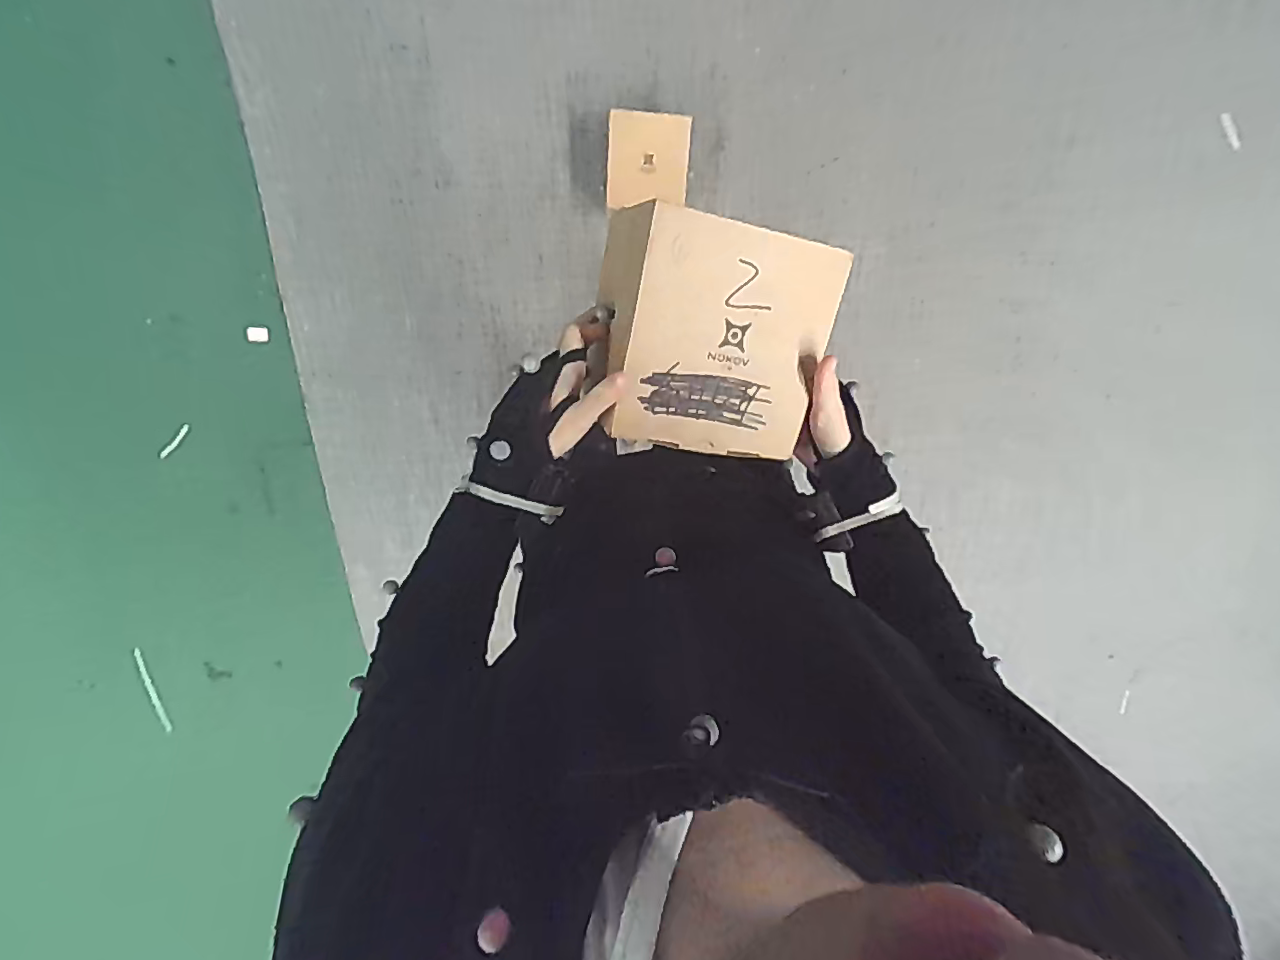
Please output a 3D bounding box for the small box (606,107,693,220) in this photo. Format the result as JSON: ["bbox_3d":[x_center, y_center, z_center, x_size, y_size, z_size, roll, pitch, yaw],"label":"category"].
[{"bbox_3d":[0.012,-0.677,1.175,0.168,0.176,0.179,2,110,-5],"label":"small box"}]
